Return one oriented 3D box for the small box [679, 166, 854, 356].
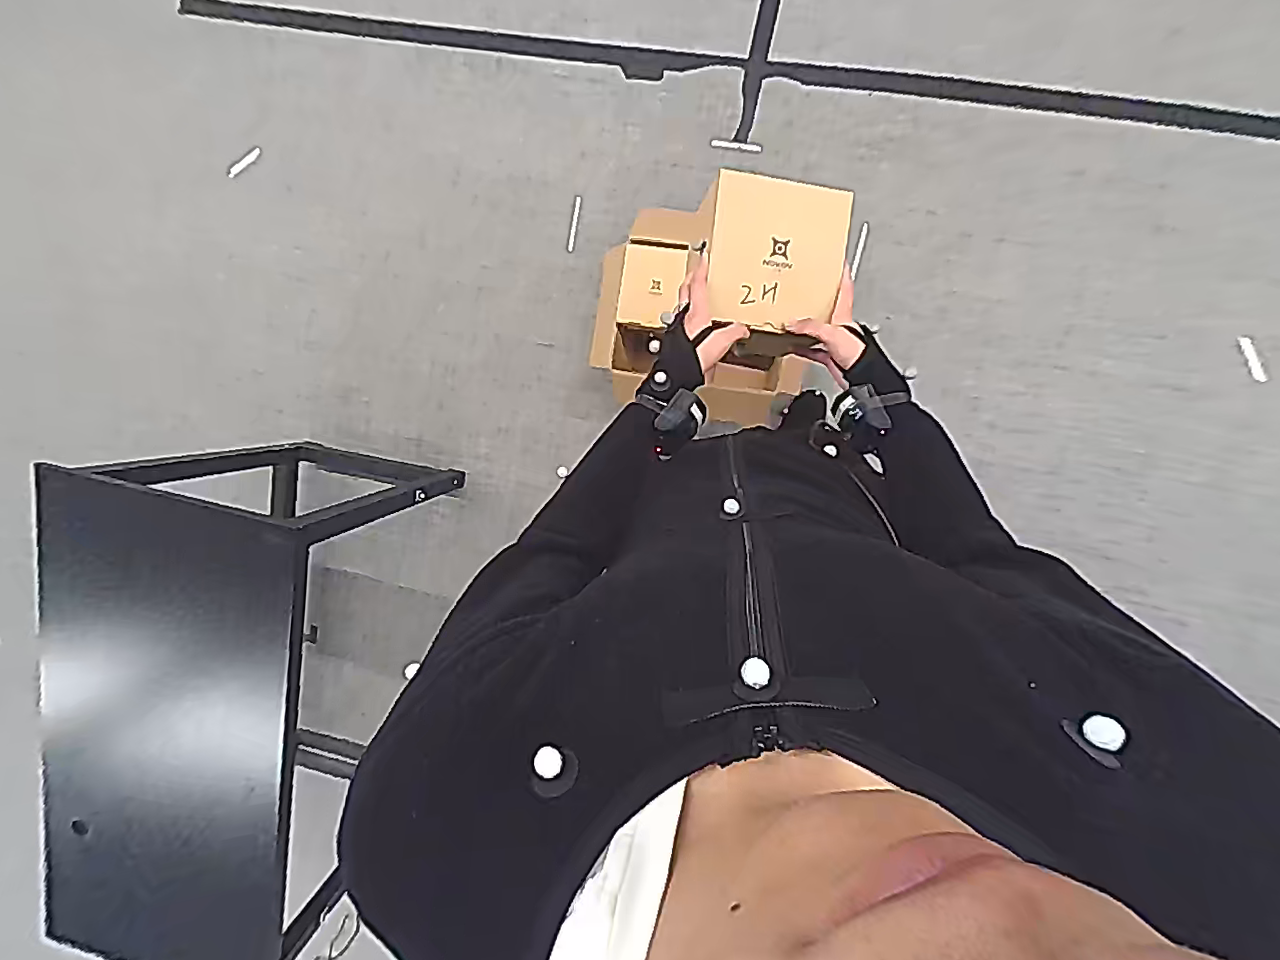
[{"bbox_3d":[0.153,-0.271,0.710,0.168,0.176,0.179,7,95,-6],"label":"small box"}]
